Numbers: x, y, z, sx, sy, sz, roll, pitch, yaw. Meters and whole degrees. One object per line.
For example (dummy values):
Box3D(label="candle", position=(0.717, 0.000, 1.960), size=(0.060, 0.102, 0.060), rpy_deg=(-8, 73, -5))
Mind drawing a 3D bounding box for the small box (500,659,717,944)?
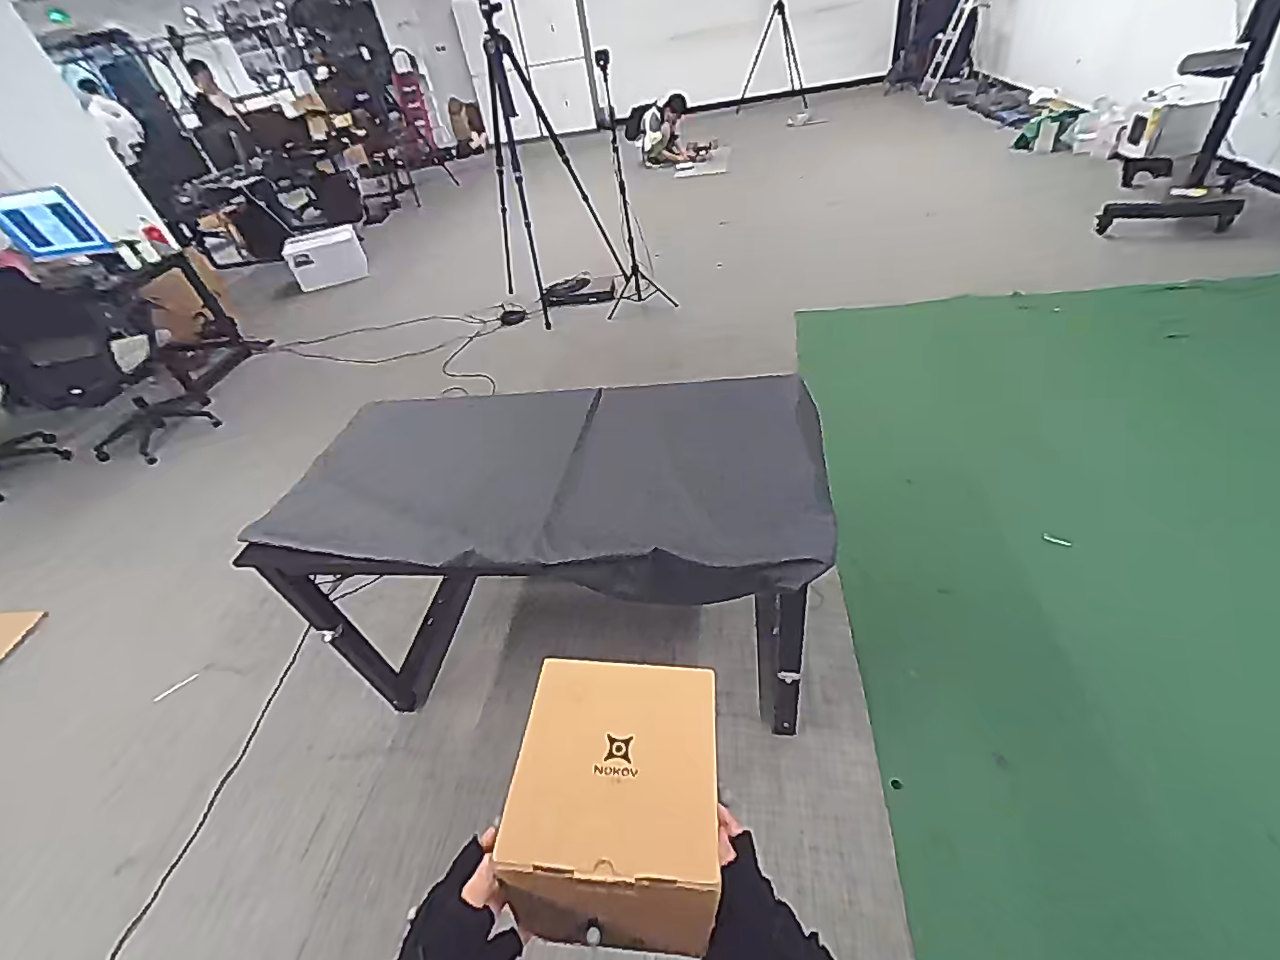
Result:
Box3D(label="small box", position=(-0.017, 0.298, 0.512), size=(0.168, 0.176, 0.179), rpy_deg=(3, 38, 4))
